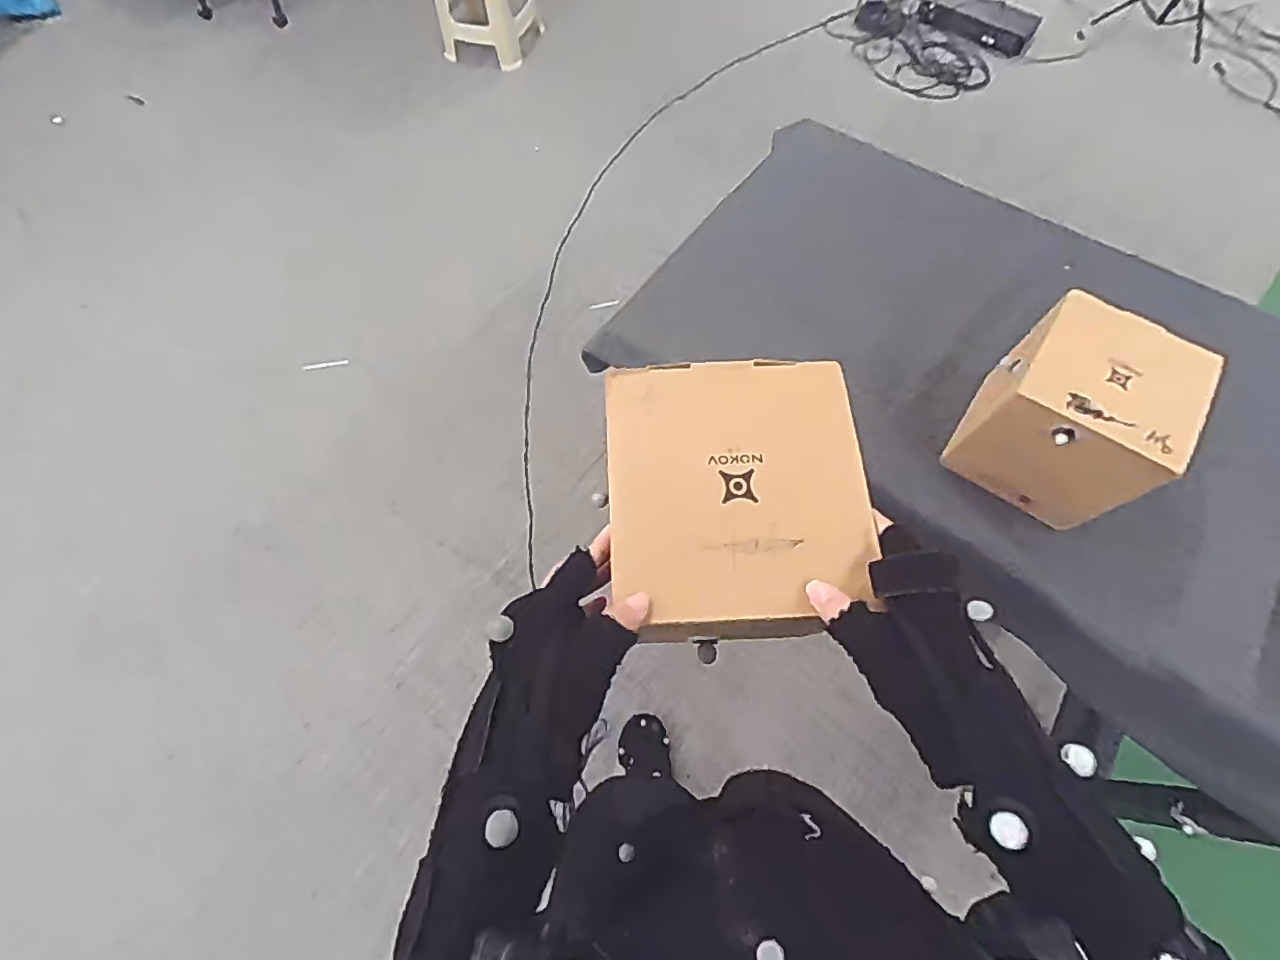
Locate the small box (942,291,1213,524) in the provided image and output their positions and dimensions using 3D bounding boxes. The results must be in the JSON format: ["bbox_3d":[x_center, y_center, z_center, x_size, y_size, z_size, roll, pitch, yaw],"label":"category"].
[{"bbox_3d":[0.502,-0.079,0.646,0.168,0.176,0.179,34,69,15],"label":"small box"}]

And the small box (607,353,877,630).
[{"bbox_3d":[0.058,0.020,0.428,0.168,0.176,0.179,-2,71,-1],"label":"small box"}]
